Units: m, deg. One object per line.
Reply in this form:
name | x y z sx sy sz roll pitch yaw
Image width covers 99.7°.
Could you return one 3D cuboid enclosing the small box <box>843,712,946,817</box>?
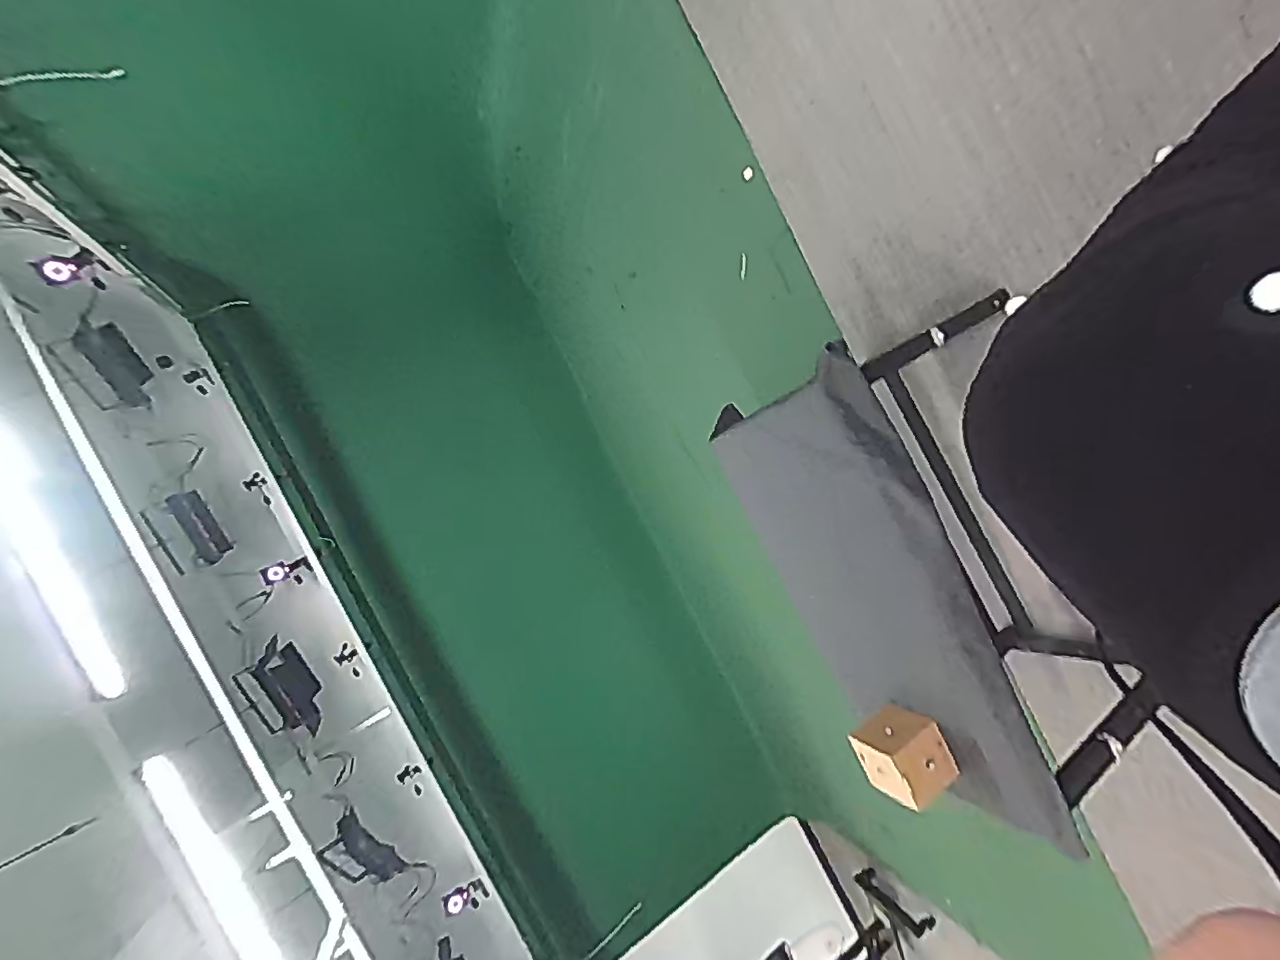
small box | 0.708 0.773 1.494 0.168 0.176 0.179 64 160 -2
